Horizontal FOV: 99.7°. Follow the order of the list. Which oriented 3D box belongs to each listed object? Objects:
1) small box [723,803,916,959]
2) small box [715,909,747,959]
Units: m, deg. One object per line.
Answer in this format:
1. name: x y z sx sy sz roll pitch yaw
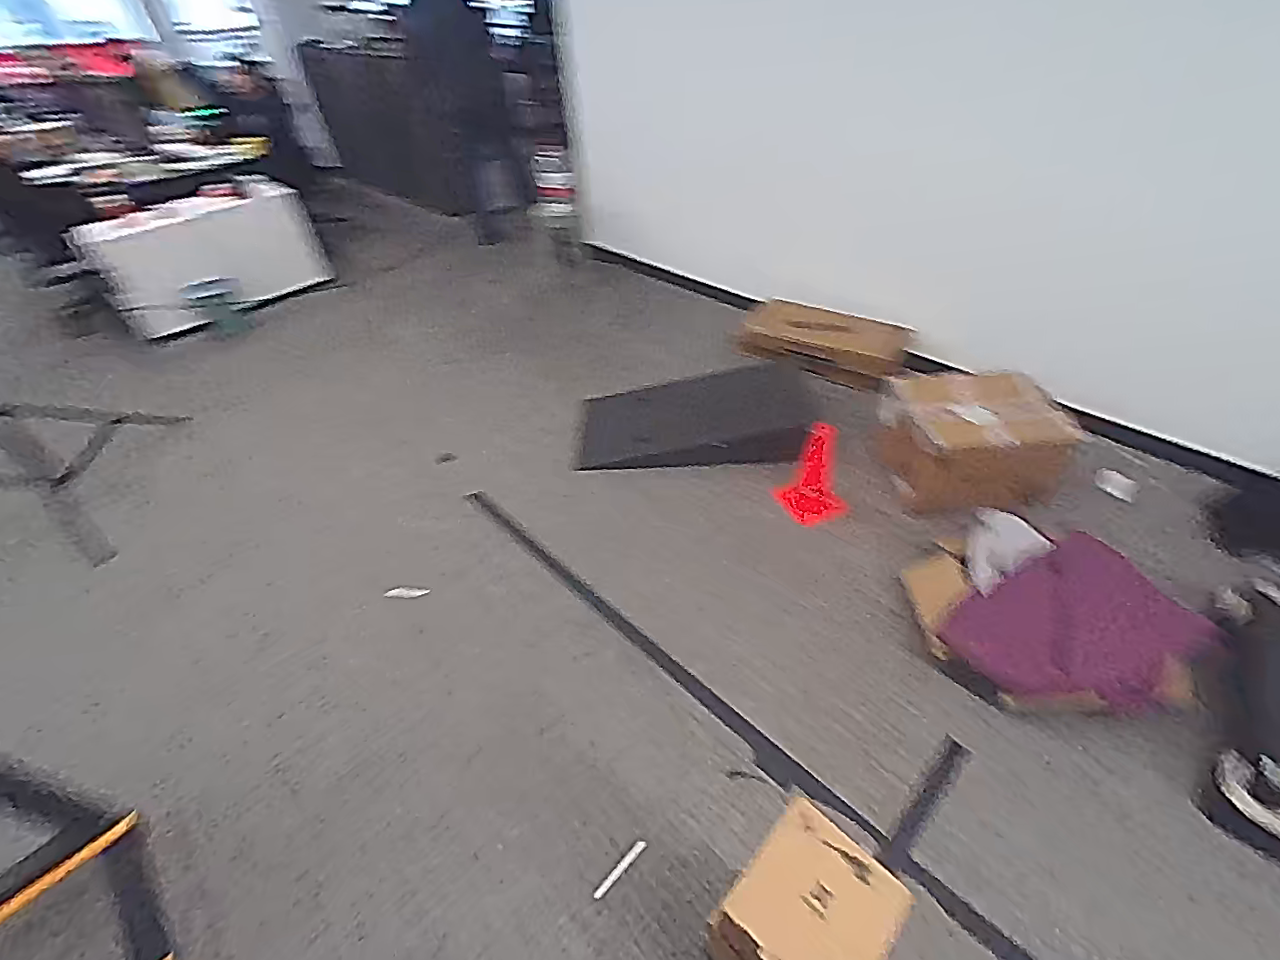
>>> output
1. small box: 0.227 0.583 0.715 0.179 0.176 0.168 -37 51 -28
2. small box: 0.227 0.702 0.828 0.179 0.176 0.168 -33 50 -25
